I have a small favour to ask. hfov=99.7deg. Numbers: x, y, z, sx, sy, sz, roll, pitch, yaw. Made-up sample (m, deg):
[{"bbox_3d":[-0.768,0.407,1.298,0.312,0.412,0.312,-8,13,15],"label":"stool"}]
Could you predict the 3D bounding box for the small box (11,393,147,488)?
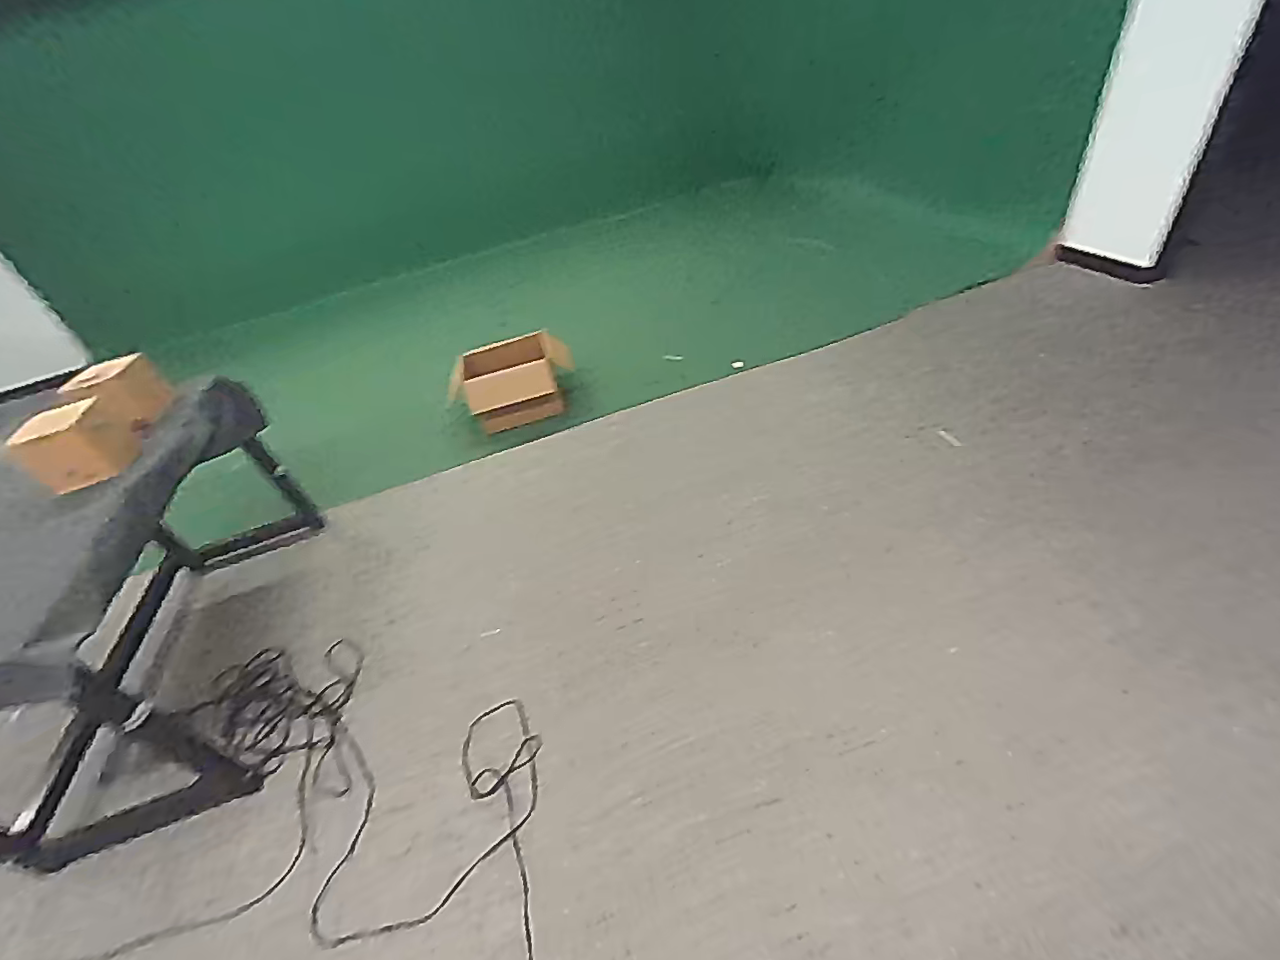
[{"bbox_3d":[-1.523,-0.109,1.487,0.168,0.176,0.179,-21,41,-8],"label":"small box"}]
